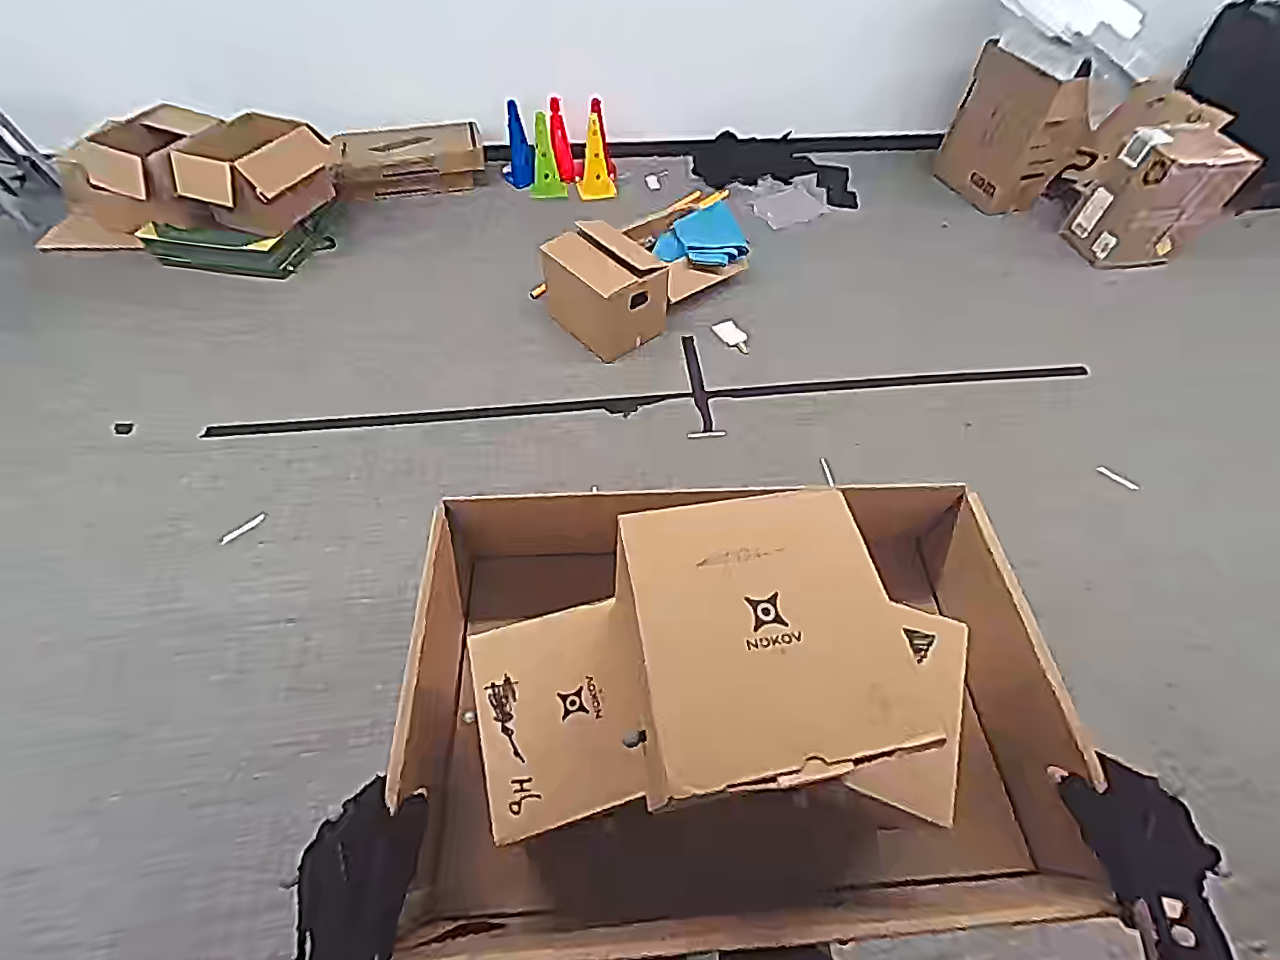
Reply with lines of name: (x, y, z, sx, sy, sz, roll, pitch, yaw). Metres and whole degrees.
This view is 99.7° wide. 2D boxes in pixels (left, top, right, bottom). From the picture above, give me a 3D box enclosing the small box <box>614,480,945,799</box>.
small box: (0.074, 0.125, 0.402, 0.168, 0.176, 0.179, -7, 57, -9)
